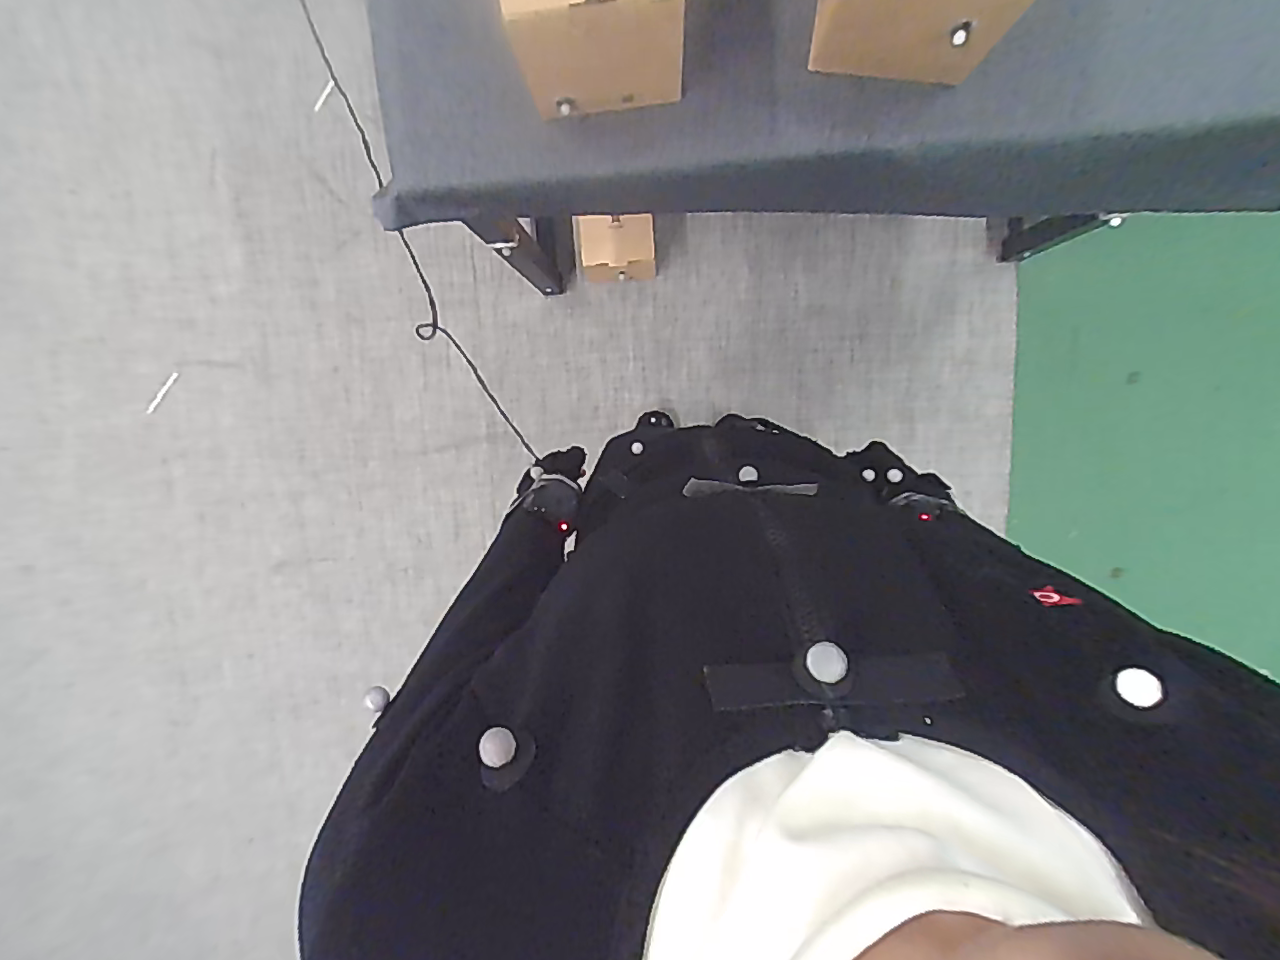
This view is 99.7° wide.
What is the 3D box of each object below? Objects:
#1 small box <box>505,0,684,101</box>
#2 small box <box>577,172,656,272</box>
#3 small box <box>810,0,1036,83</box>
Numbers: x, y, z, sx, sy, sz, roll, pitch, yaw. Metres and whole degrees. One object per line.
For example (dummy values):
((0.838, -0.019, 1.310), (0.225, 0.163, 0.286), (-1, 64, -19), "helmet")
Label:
((-0.042, -0.519, 0.548), (0.168, 0.176, 0.179), (-5, 96, 3), "small box")
((-0.050, -0.598, 1.277), (0.168, 0.176, 0.179), (-3, 99, 3), "small box")
((0.288, -0.533, 0.536), (0.179, 0.176, 0.168), (8, 97, 3), "small box")
